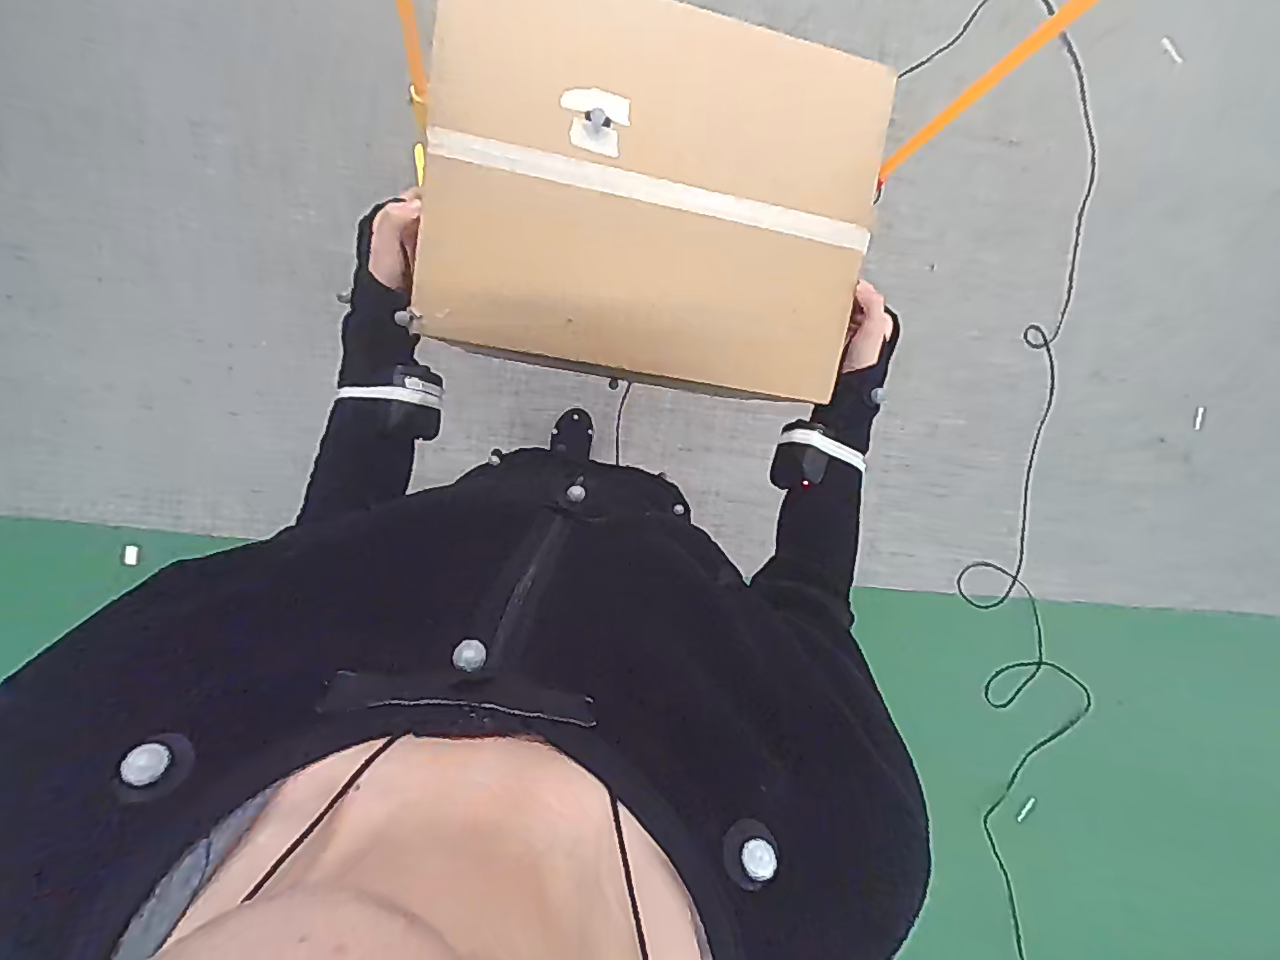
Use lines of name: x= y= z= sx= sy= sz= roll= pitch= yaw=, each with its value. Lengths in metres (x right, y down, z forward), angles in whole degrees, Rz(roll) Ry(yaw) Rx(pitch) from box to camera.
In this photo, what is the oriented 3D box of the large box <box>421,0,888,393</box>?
large box: x=-0.002 y=-0.290 z=0.642 sx=0.408 sy=0.320 sz=0.320 roll=8 pitch=99 yaw=-10
